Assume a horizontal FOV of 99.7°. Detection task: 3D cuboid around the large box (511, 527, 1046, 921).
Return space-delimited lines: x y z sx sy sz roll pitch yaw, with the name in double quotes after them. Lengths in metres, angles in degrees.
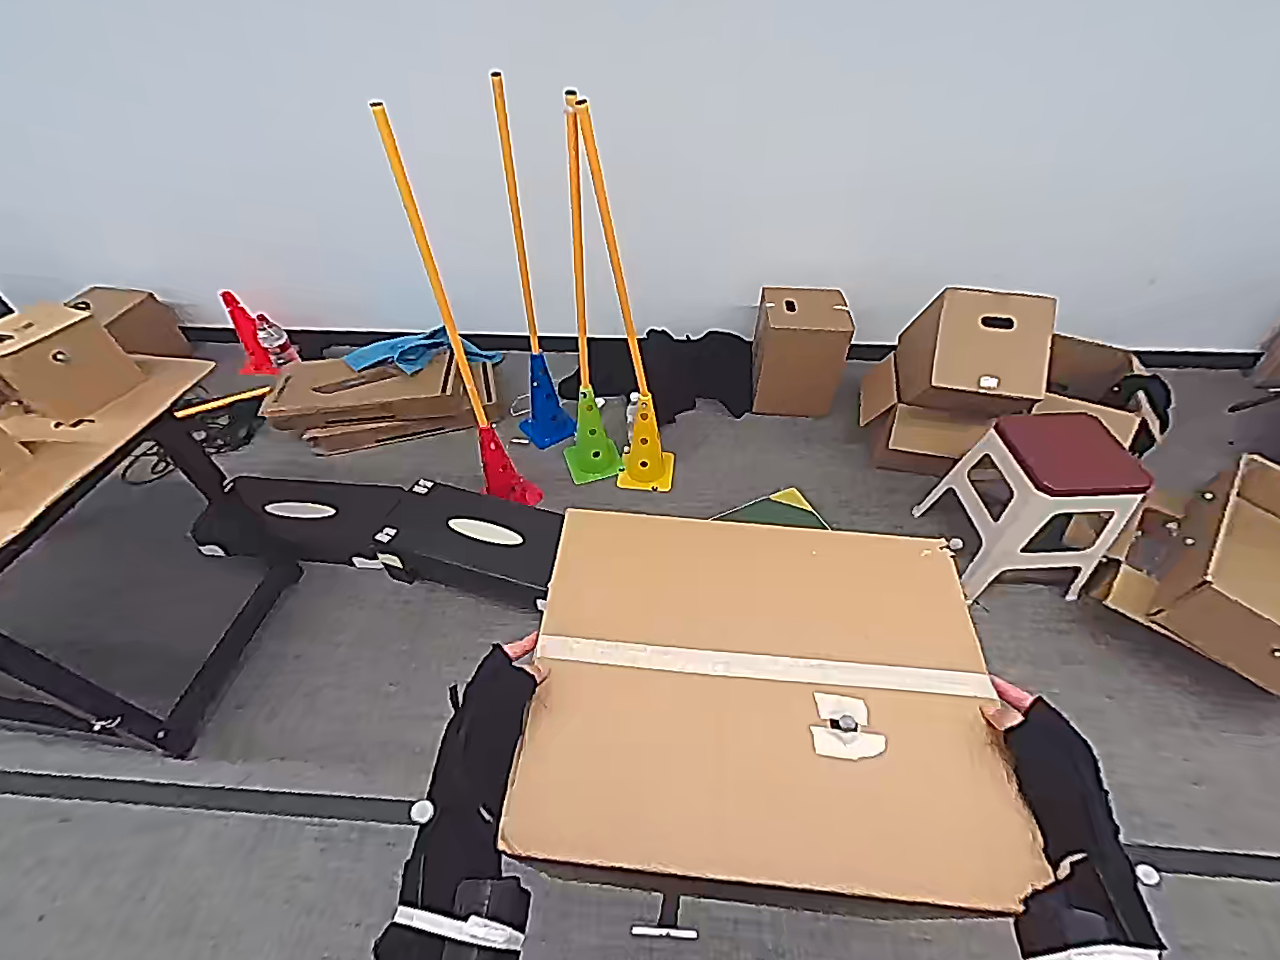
0.106 0.276 0.604 0.408 0.320 0.320 5 52 3 "large box"
